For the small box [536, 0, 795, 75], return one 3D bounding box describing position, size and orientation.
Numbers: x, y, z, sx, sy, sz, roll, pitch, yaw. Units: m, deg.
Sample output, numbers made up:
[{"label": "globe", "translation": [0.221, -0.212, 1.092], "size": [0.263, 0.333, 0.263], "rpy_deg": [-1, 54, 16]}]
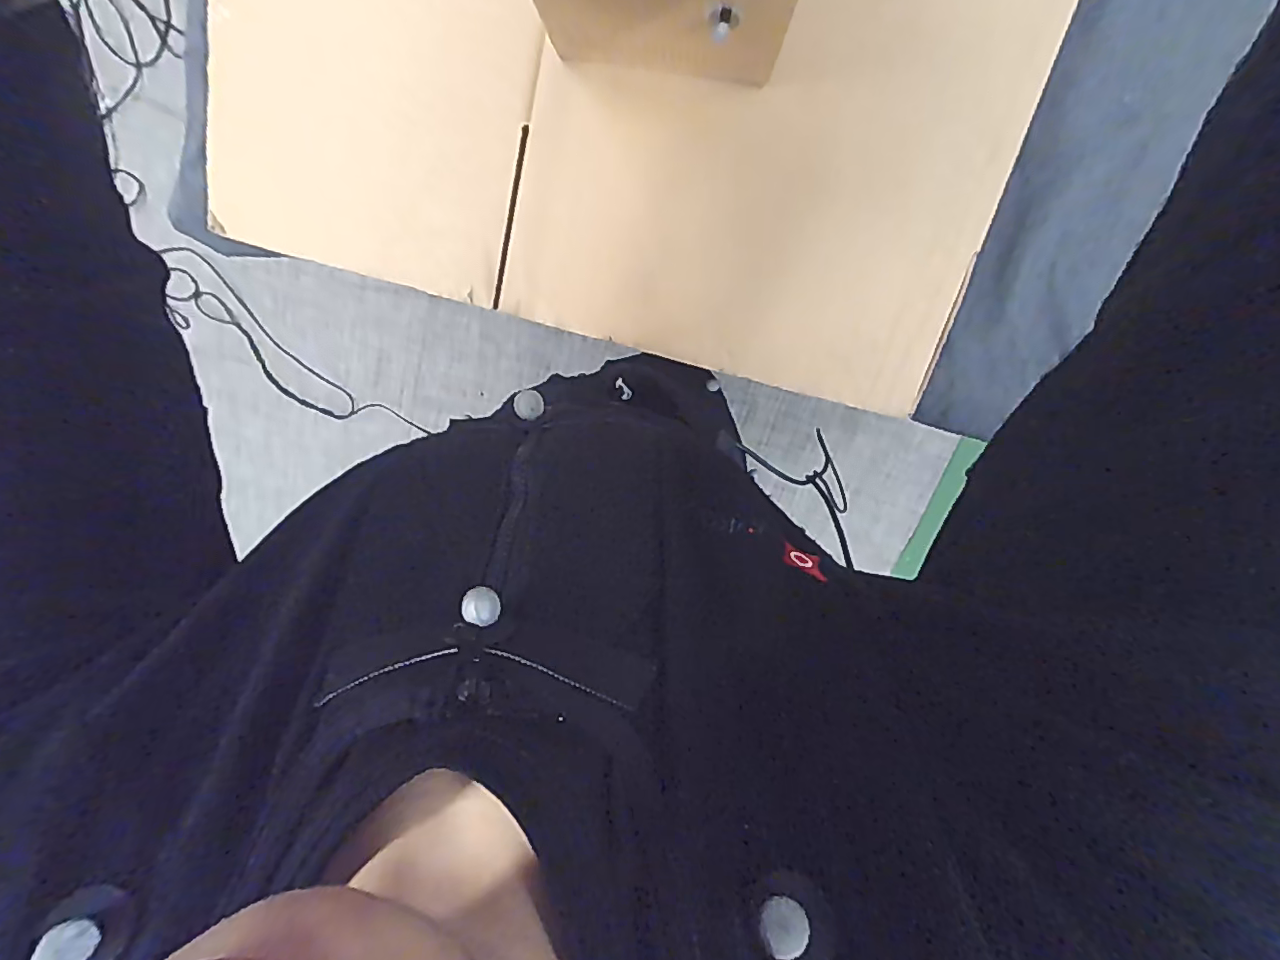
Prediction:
[{"label": "small box", "translation": [0.024, -0.383, 0.331], "size": [0.179, 0.176, 0.168], "rpy_deg": [8, 105, 2]}]
